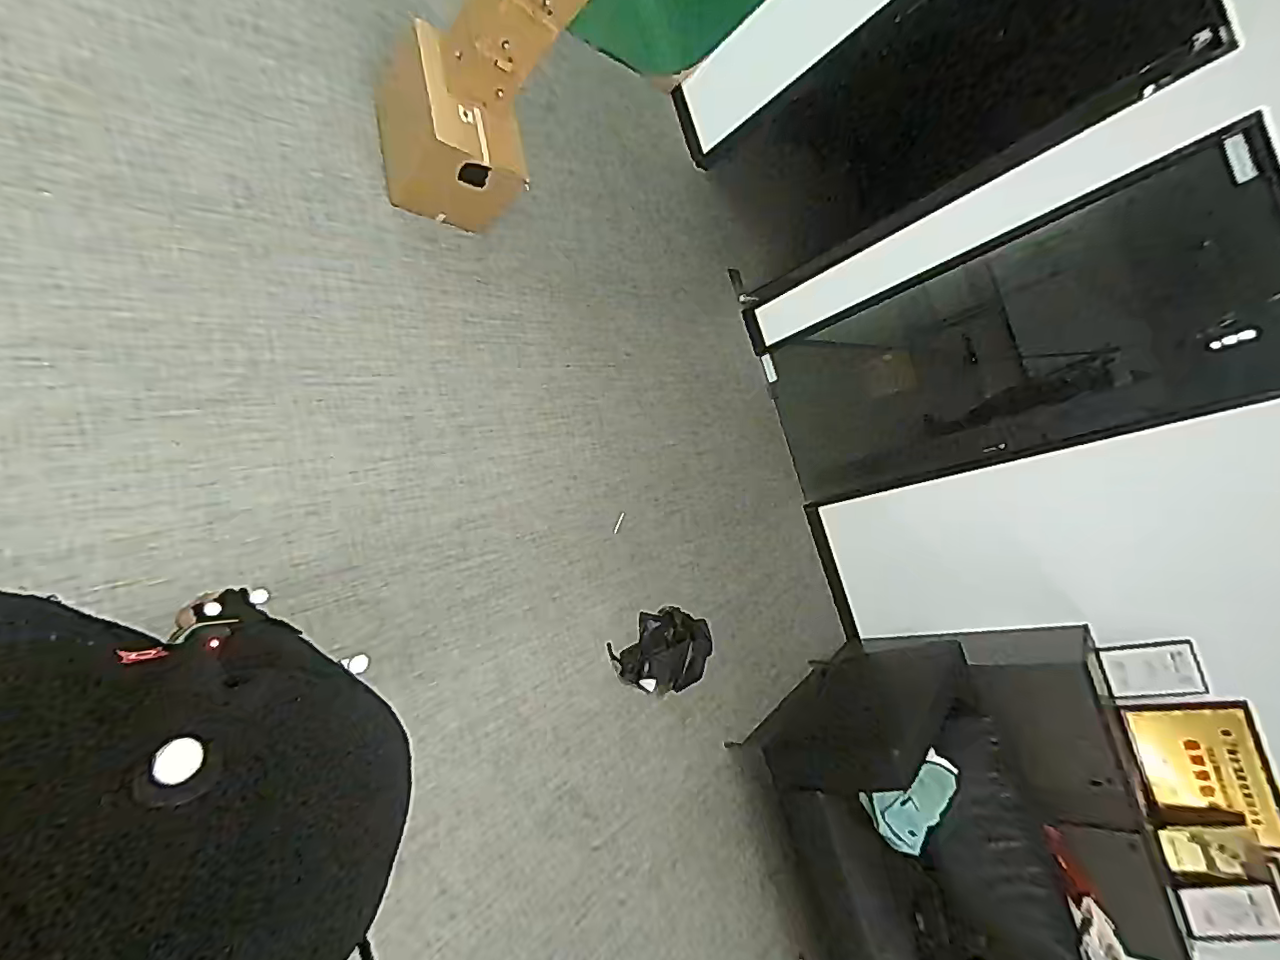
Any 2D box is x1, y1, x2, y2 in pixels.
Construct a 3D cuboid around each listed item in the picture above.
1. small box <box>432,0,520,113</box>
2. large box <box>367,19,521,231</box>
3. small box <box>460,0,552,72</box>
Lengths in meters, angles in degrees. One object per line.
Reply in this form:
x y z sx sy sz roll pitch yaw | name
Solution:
-0.473 -1.212 1.552 0.168 0.176 0.179 -4 78 -49 | small box
-0.623 -1.088 1.711 0.320 0.320 0.408 -5 80 -47 | large box
-0.362 -1.257 1.442 0.168 0.176 0.179 -1 77 -49 | small box
